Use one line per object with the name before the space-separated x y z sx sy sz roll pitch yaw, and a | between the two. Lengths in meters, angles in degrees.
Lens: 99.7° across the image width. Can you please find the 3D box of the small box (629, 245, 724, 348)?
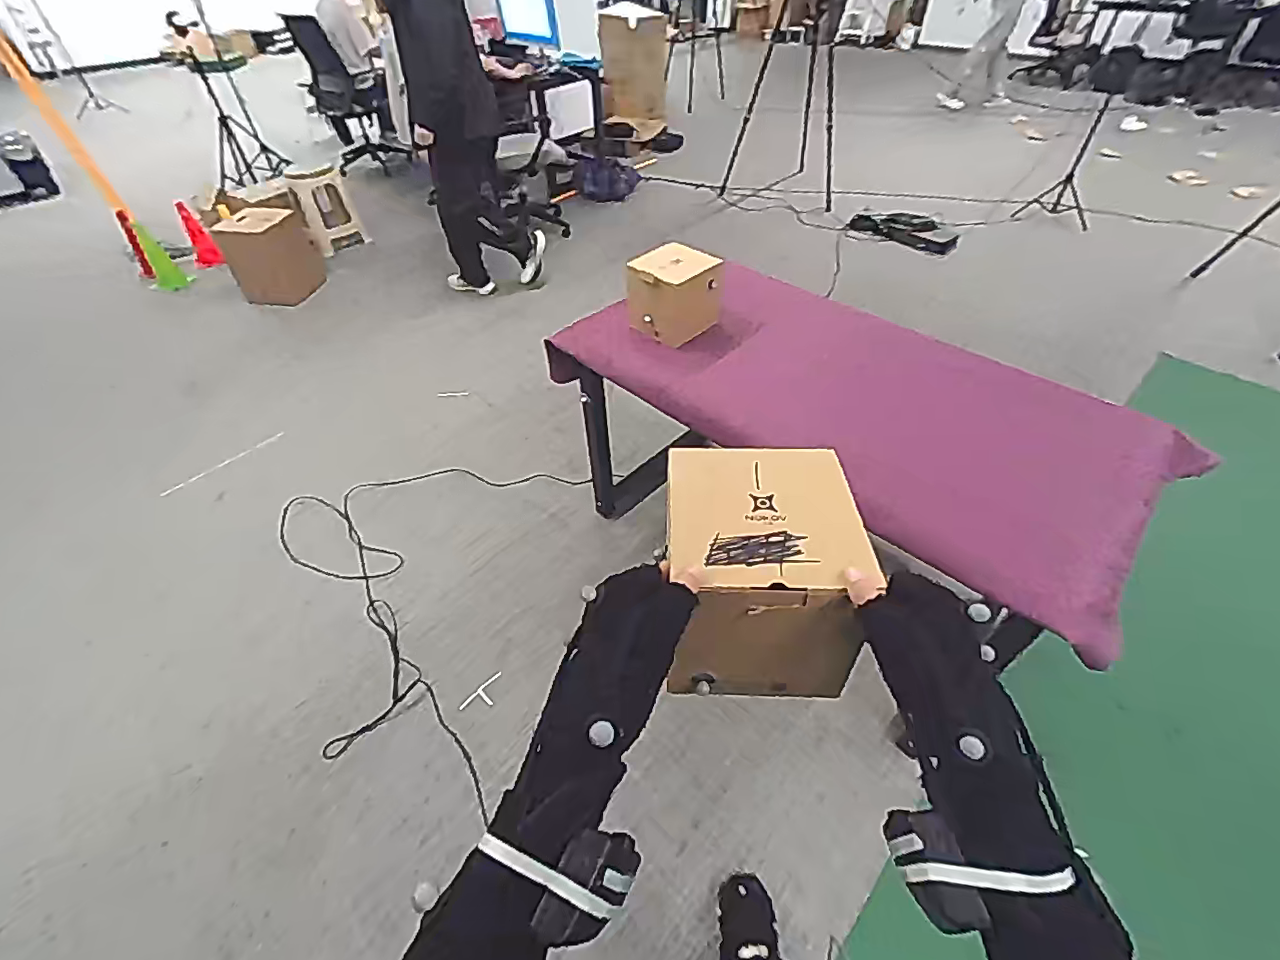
small box | 0.088 -0.462 1.363 0.168 0.176 0.179 35 56 30

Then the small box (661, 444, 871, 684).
small box | 0.105 0.084 0.534 0.168 0.176 0.179 0 41 2
